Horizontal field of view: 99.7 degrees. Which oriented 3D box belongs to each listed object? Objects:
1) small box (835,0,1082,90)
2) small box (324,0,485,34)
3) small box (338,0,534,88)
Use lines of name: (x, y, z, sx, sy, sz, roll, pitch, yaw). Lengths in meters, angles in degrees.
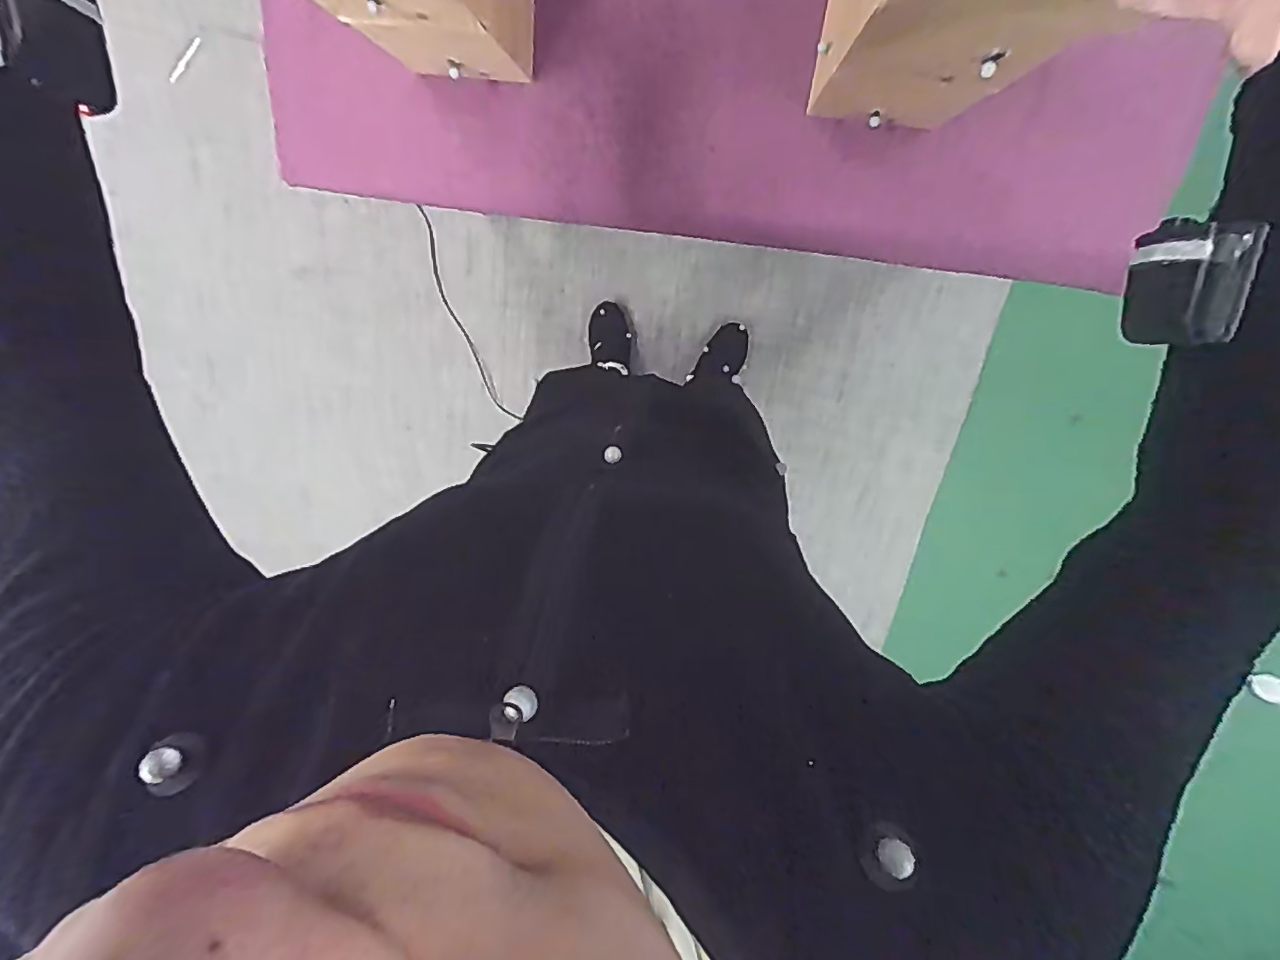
small box: (0.271, -0.449, 0.441, 0.168, 0.176, 0.179, 8, 111, 4)
small box: (-0.243, -0.537, 0.473, 0.168, 0.176, 0.179, 7, 111, 4)
small box: (-0.226, -0.592, 0.625, 0.168, 0.176, 0.179, 8, 111, 4)
